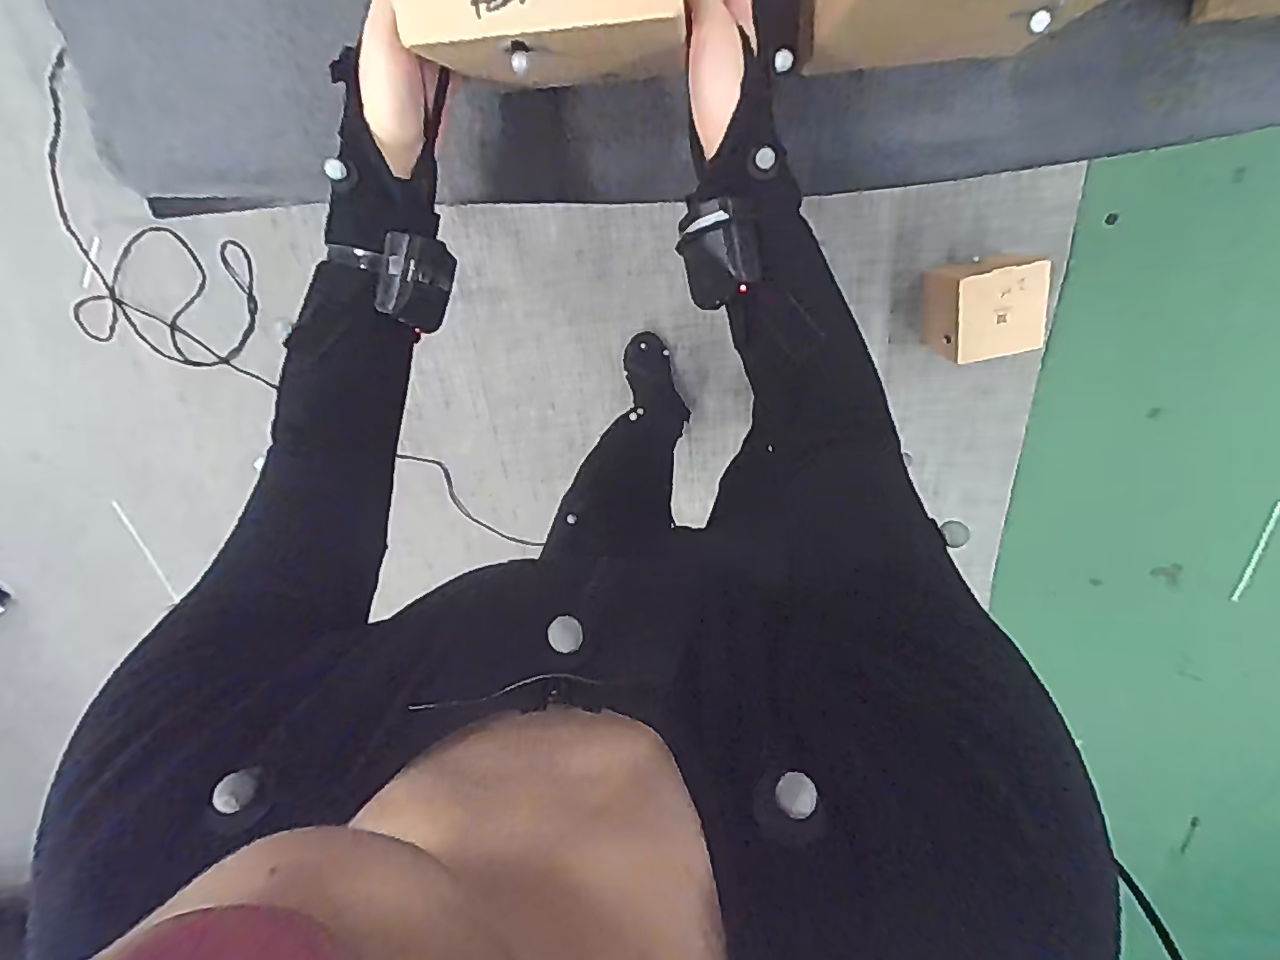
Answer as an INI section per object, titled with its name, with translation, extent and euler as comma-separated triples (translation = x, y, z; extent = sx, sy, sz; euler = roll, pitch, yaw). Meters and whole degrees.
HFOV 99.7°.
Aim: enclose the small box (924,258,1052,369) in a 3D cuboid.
[small box]
translation = 0.714, -0.352, 1.131
extent = 0.168, 0.176, 0.179
euler = -10, 115, 8
